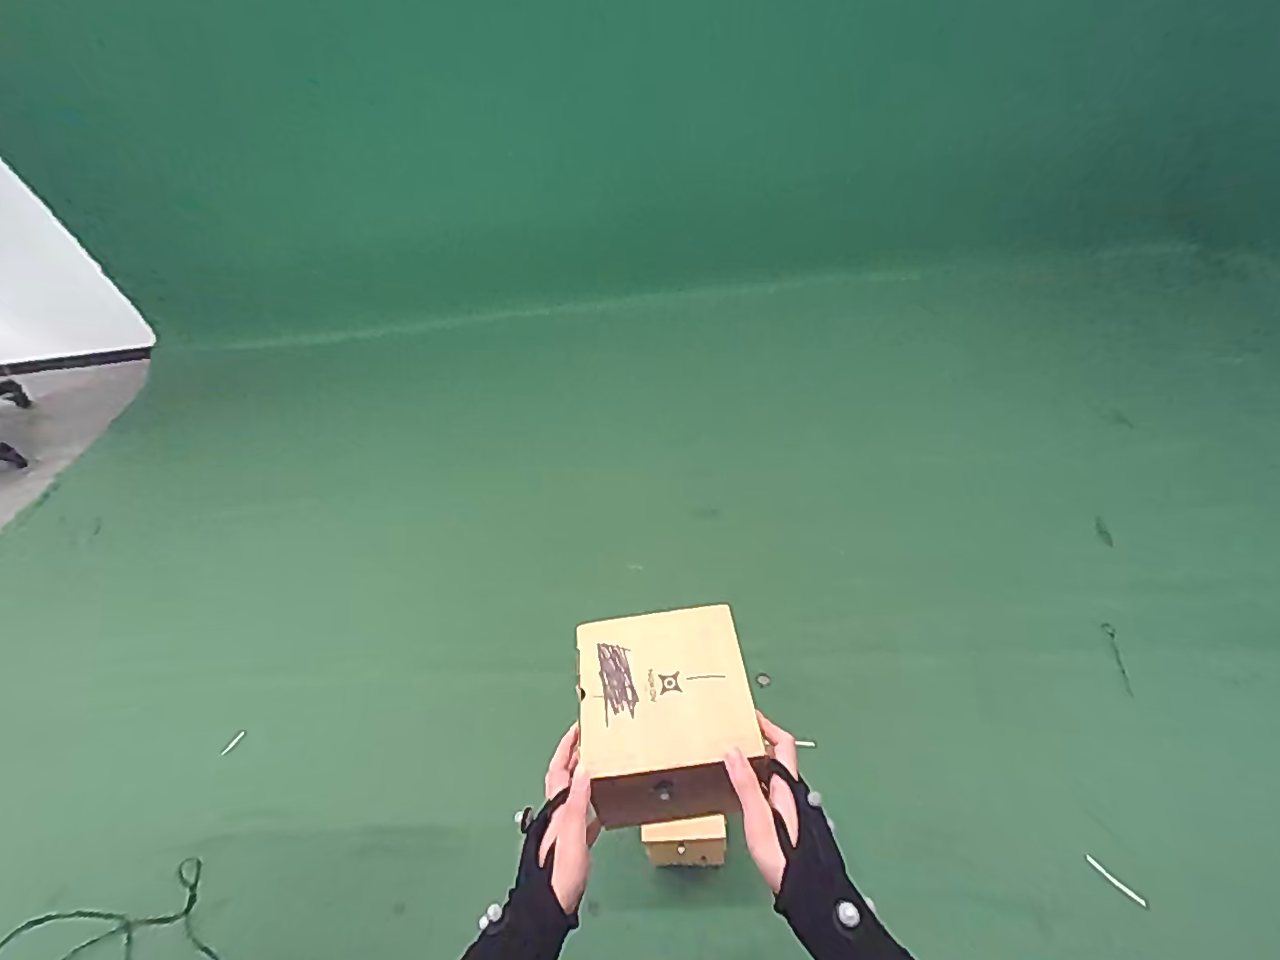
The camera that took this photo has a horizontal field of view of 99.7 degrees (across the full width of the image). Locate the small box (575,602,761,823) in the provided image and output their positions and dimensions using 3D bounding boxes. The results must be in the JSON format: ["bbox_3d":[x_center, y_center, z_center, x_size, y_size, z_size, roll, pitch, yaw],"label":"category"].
[{"bbox_3d":[0.029,0.263,0.606,0.179,0.176,0.168,-8,43,0],"label":"small box"}]

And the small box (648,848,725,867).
[{"bbox_3d":[0.115,0.838,1.326,0.179,0.176,0.168,-5,47,6],"label":"small box"}]

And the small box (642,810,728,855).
[{"bbox_3d":[0.100,0.727,1.208,0.179,0.176,0.168,-7,47,5],"label":"small box"}]
